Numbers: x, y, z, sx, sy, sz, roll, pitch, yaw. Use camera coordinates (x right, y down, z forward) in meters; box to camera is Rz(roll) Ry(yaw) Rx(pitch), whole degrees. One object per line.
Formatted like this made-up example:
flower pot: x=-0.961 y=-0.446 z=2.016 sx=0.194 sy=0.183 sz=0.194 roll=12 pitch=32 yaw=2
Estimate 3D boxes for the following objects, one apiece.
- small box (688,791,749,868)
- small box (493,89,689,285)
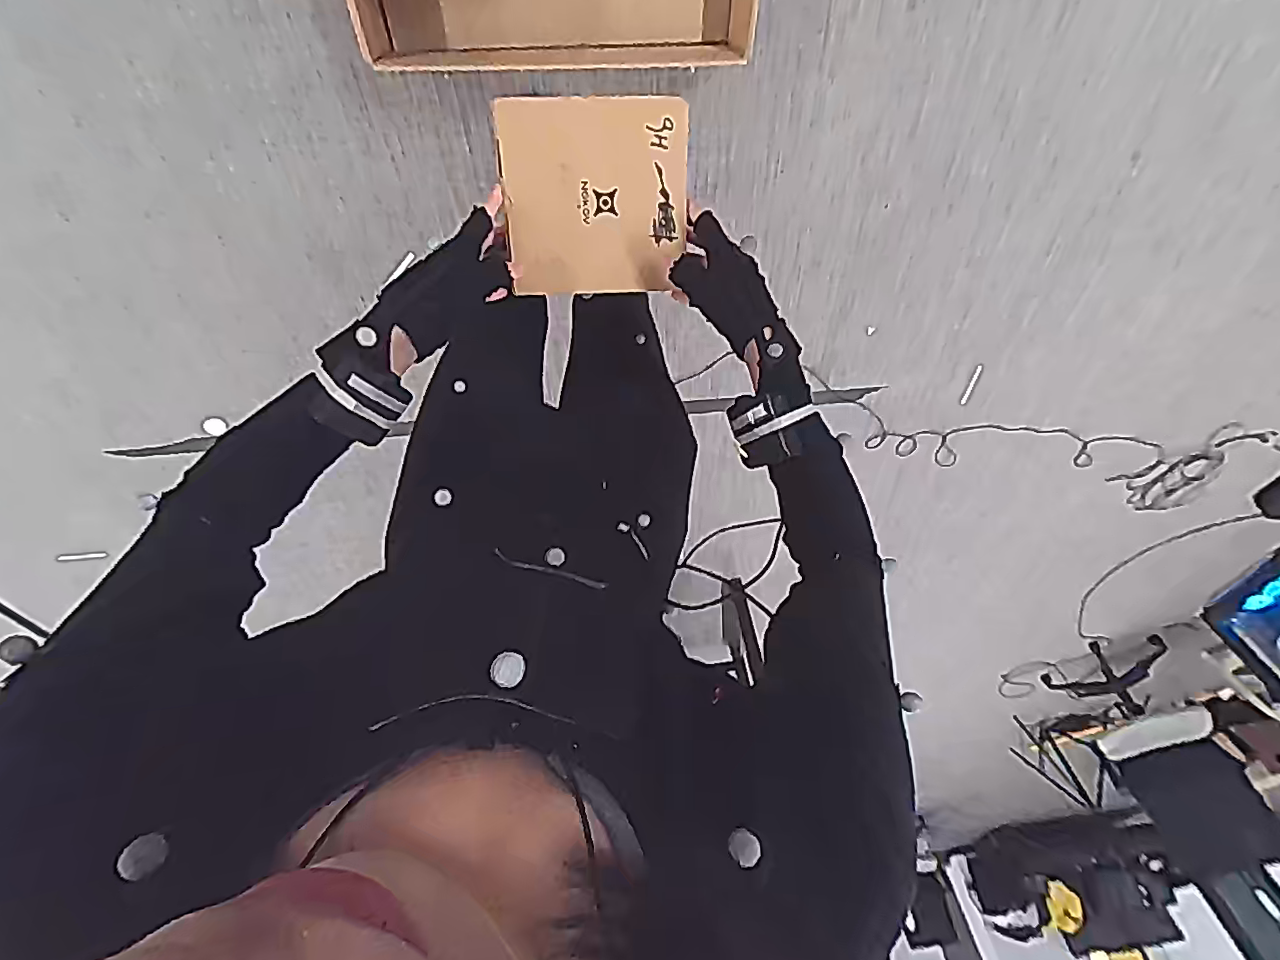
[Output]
small box: x=0.251 y=1.130 z=1.748 sx=0.168 sy=0.176 sz=0.179 roll=-8 pitch=133 yaw=0
small box: x=-0.046 y=-0.304 z=0.581 sx=0.179 sy=0.176 sz=0.168 roll=-3 pitch=116 yaw=-3
